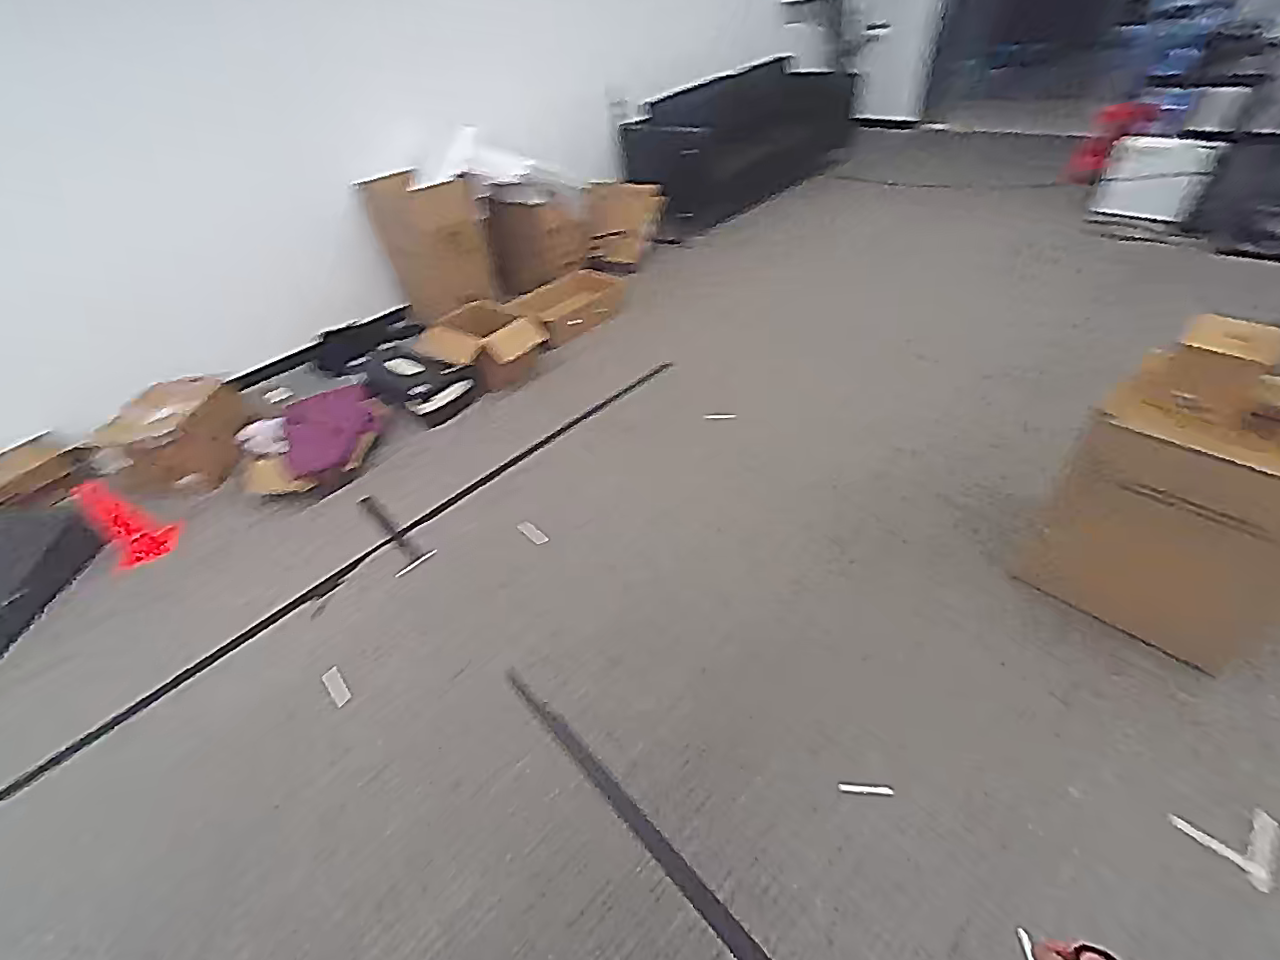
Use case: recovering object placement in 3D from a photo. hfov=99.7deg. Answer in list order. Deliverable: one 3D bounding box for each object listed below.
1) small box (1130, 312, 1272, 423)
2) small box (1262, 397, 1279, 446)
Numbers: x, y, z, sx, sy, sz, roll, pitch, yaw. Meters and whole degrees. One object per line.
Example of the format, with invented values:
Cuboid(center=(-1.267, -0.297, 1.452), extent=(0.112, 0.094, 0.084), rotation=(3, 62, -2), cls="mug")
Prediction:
Cuboid(center=(1.302, -0.264, 1.266), extent=(0.179, 0.176, 0.168), rotation=(-38, 49, -26), cls="small box")
Cuboid(center=(1.458, -0.157, 1.118), extent=(0.179, 0.176, 0.168), rotation=(-37, 47, -27), cls="small box")
